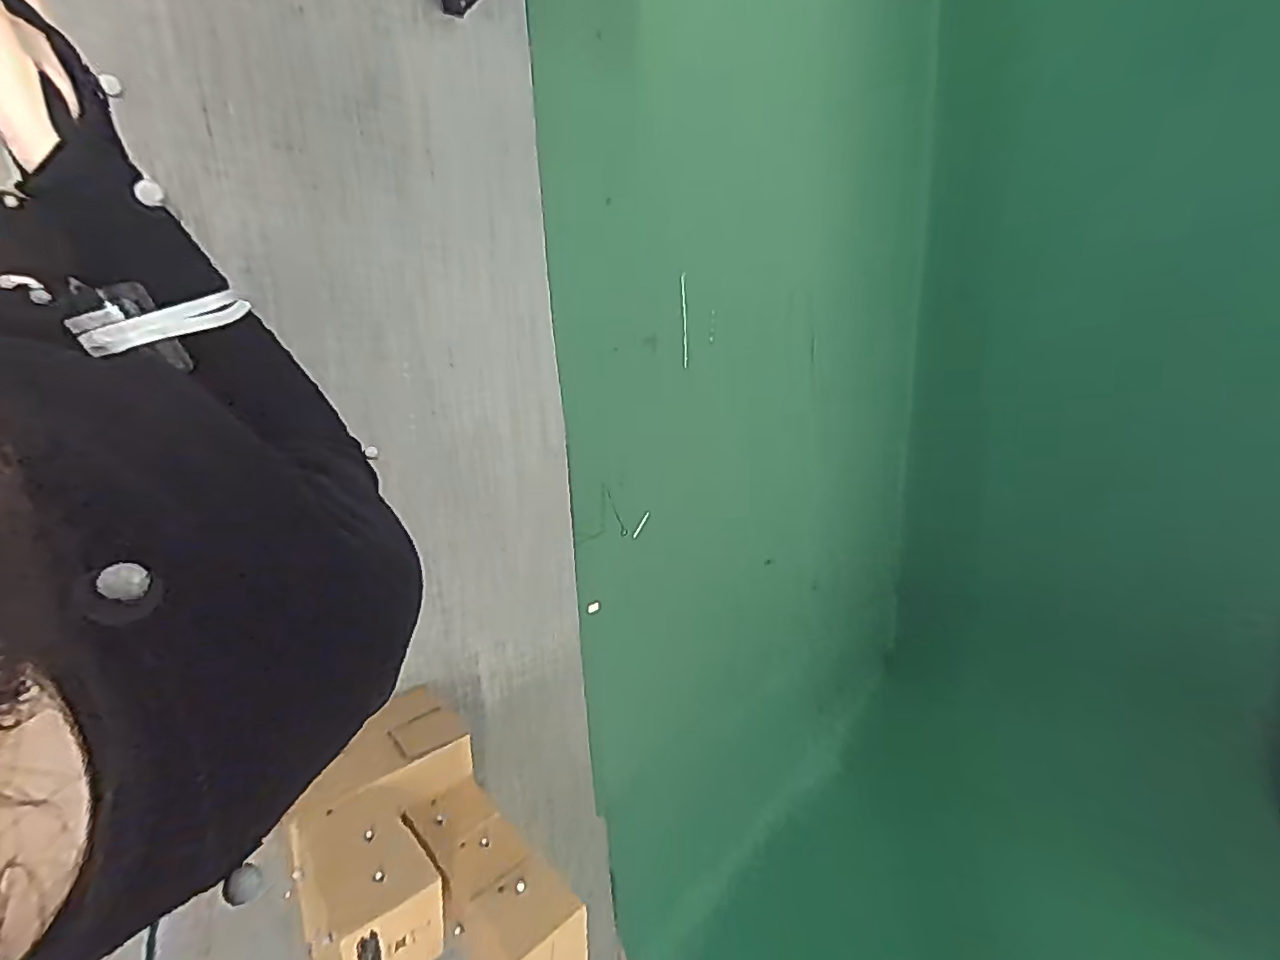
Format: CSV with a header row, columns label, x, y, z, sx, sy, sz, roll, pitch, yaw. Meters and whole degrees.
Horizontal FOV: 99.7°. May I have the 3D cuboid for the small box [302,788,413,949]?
label,x,y,z,sx,sy,sz,roll,pitch,yaw
small box,-0.589,0.796,1.130,0.168,0.176,0.179,-9,106,-43

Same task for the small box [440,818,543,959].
label,x,y,z,sx,sy,sz,roll,pitch,yaw
small box,-0.323,0.898,1.186,0.168,0.176,0.179,-11,105,-43

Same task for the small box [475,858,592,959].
label,x,y,z,sx,sy,sz,roll,pitch,yaw
small box,-0.210,0.909,1.068,0.168,0.176,0.179,-11,105,-43

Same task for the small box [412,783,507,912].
label,x,y,z,sx,sy,sz,roll,pitch,yaw
small box,-0.434,0.871,1.303,0.168,0.176,0.179,-11,107,-43
